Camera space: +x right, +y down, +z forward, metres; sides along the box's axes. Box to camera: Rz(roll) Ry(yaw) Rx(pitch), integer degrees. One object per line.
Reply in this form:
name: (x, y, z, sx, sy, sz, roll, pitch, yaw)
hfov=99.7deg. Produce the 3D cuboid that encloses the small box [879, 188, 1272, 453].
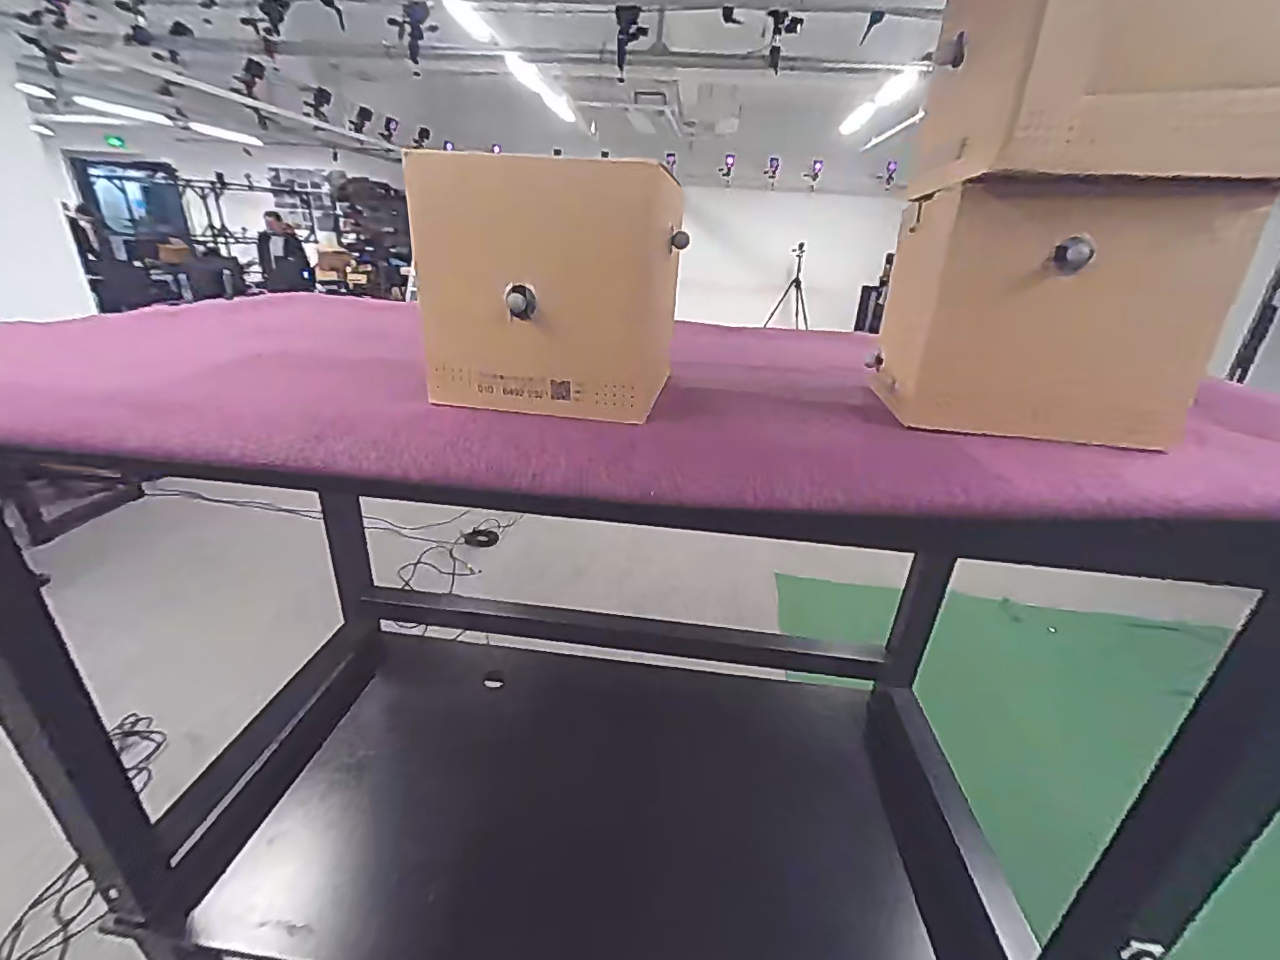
small box: (0.305, -0.127, 0.435, 0.179, 0.176, 0.168, 7, 23, 10)

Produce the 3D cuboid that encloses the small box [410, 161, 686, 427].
small box: (-0.057, -0.150, 0.441, 0.168, 0.176, 0.179, 7, 24, 7)

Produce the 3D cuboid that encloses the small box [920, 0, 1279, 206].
small box: (0.308, -0.272, 0.360, 0.179, 0.176, 0.168, 6, 22, 7)
